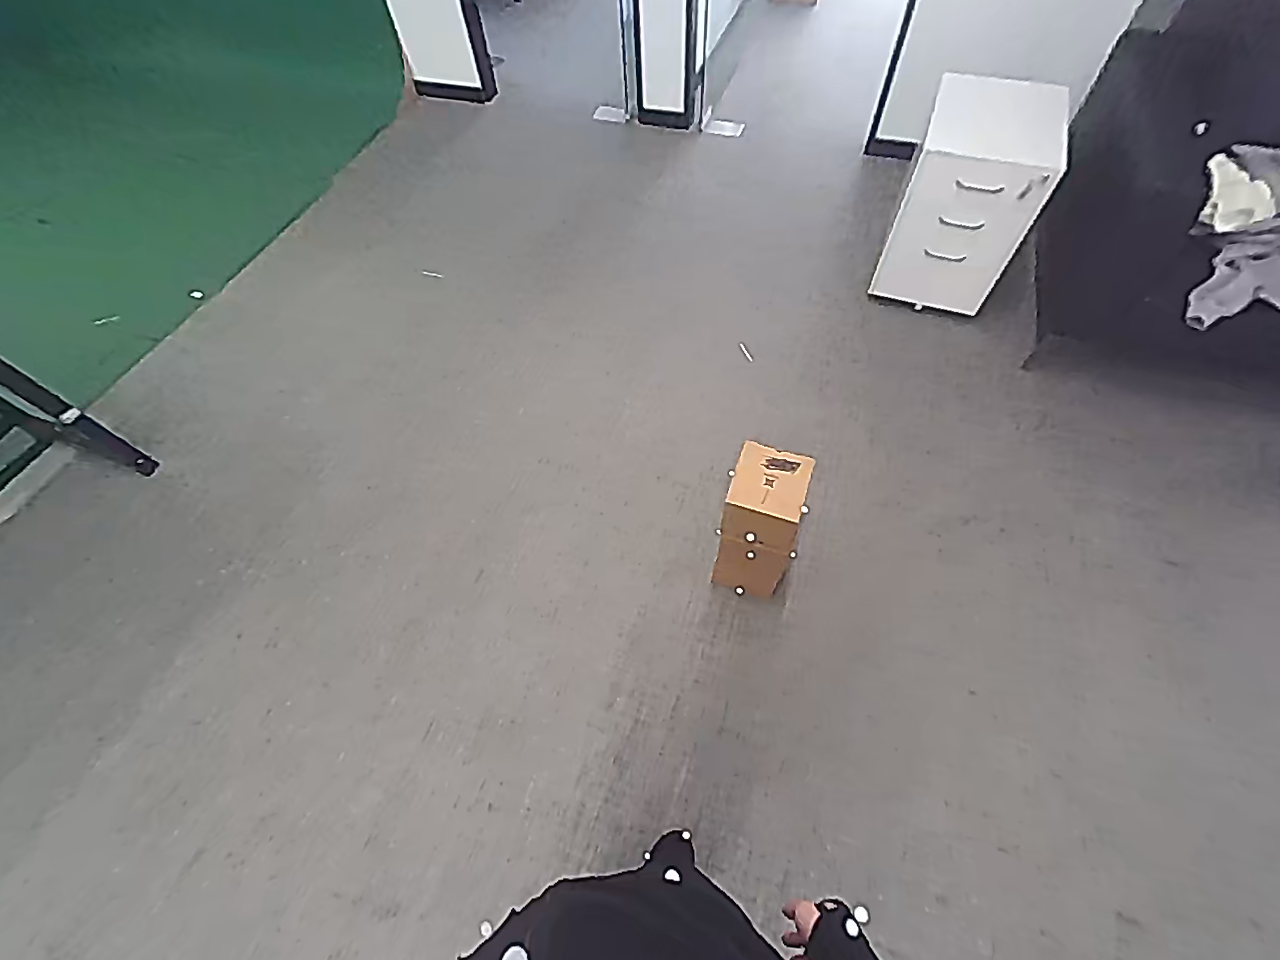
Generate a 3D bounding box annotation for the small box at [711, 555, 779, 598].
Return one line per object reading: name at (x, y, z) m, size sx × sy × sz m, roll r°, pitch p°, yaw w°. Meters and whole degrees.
small box at (0.315, 0.221, 1.555) m, size 0.179 × 0.176 × 0.168 m, roll 18°, pitch 60°, yaw 12°

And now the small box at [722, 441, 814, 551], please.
small box at (0.297, 0.041, 1.281) m, size 0.168 × 0.176 × 0.179 m, roll 17°, pitch 61°, yaw 14°

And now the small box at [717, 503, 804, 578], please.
small box at (0.309, 0.138, 1.415) m, size 0.179 × 0.176 × 0.168 m, roll 17°, pitch 61°, yaw 12°
